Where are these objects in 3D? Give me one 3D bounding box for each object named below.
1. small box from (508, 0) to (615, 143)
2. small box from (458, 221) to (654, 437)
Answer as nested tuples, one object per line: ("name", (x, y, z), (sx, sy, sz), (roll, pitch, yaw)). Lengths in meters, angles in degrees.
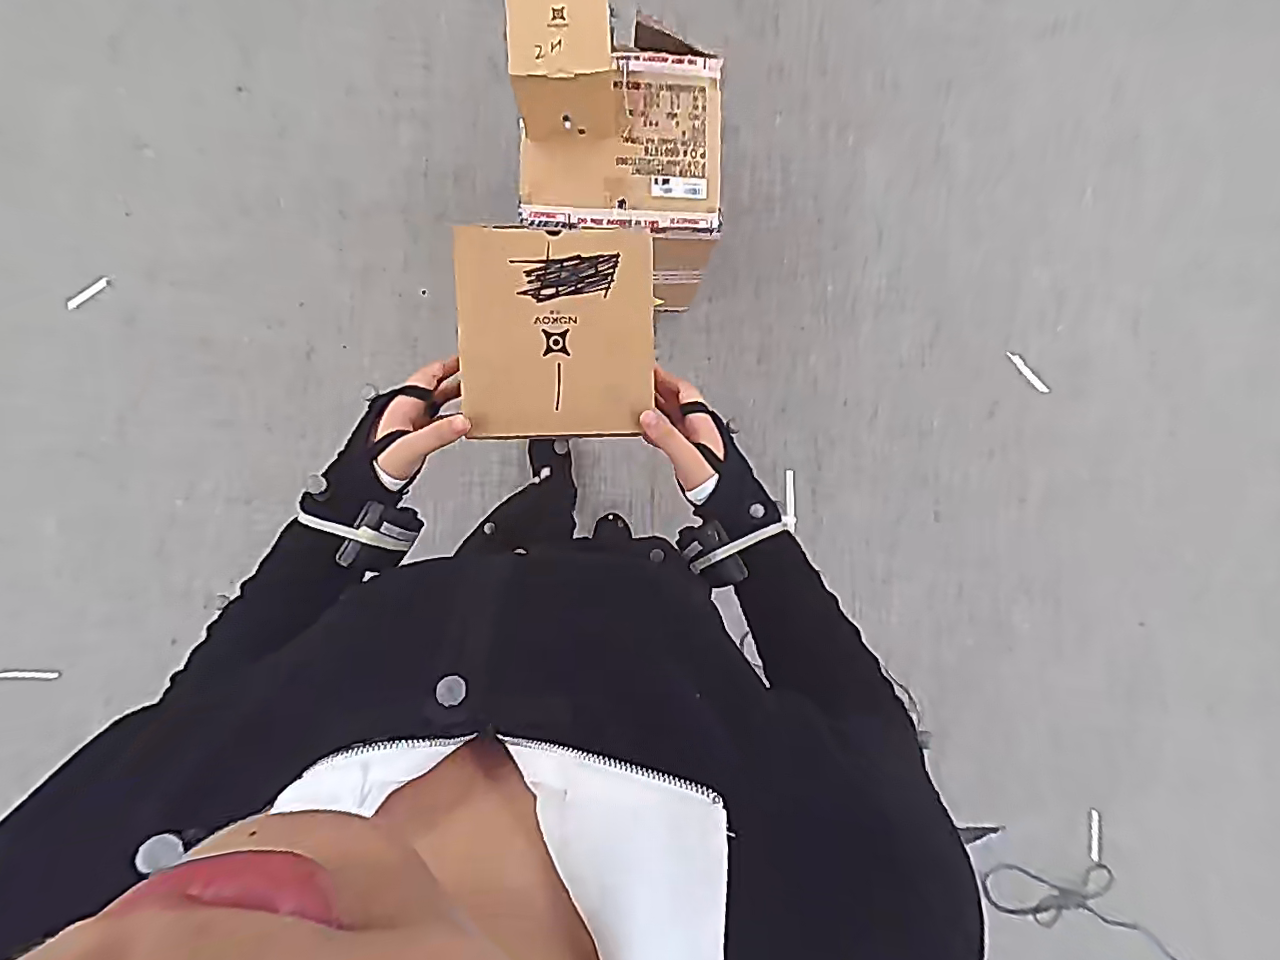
("small box", (-0.130, -0.725, 0.940), (0.168, 0.176, 0.179), (-2, 92, 0))
("small box", (-0.078, -0.134, 0.538), (0.168, 0.176, 0.179), (-2, 94, -5))
